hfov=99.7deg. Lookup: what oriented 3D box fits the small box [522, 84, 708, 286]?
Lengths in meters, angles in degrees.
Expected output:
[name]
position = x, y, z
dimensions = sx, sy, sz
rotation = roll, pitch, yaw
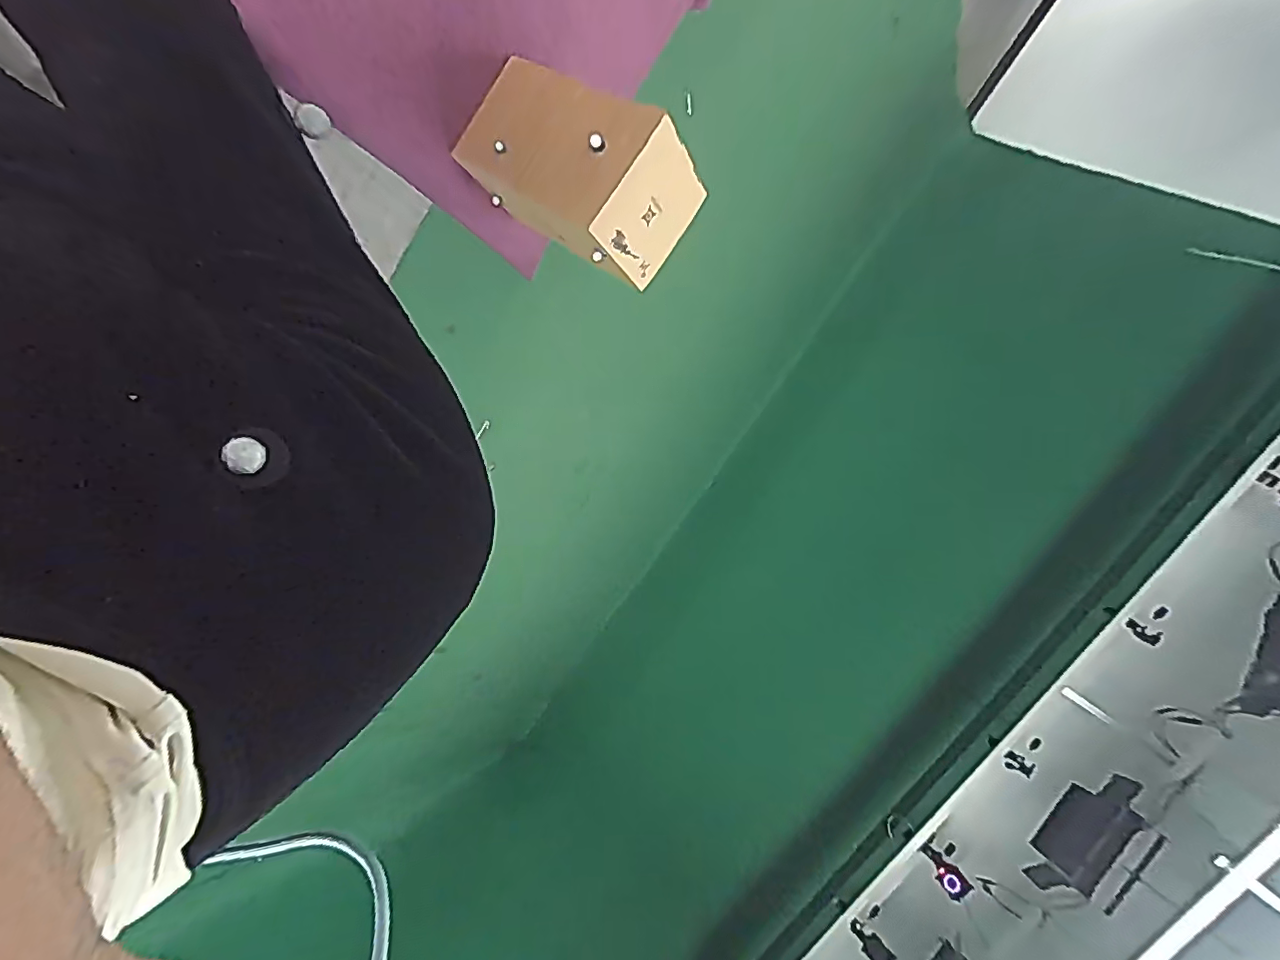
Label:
[small box]
position = -0.037, -0.425, 0.784
dimensions = 0.179, 0.176, 0.168
rotation = -55, 152, 6
